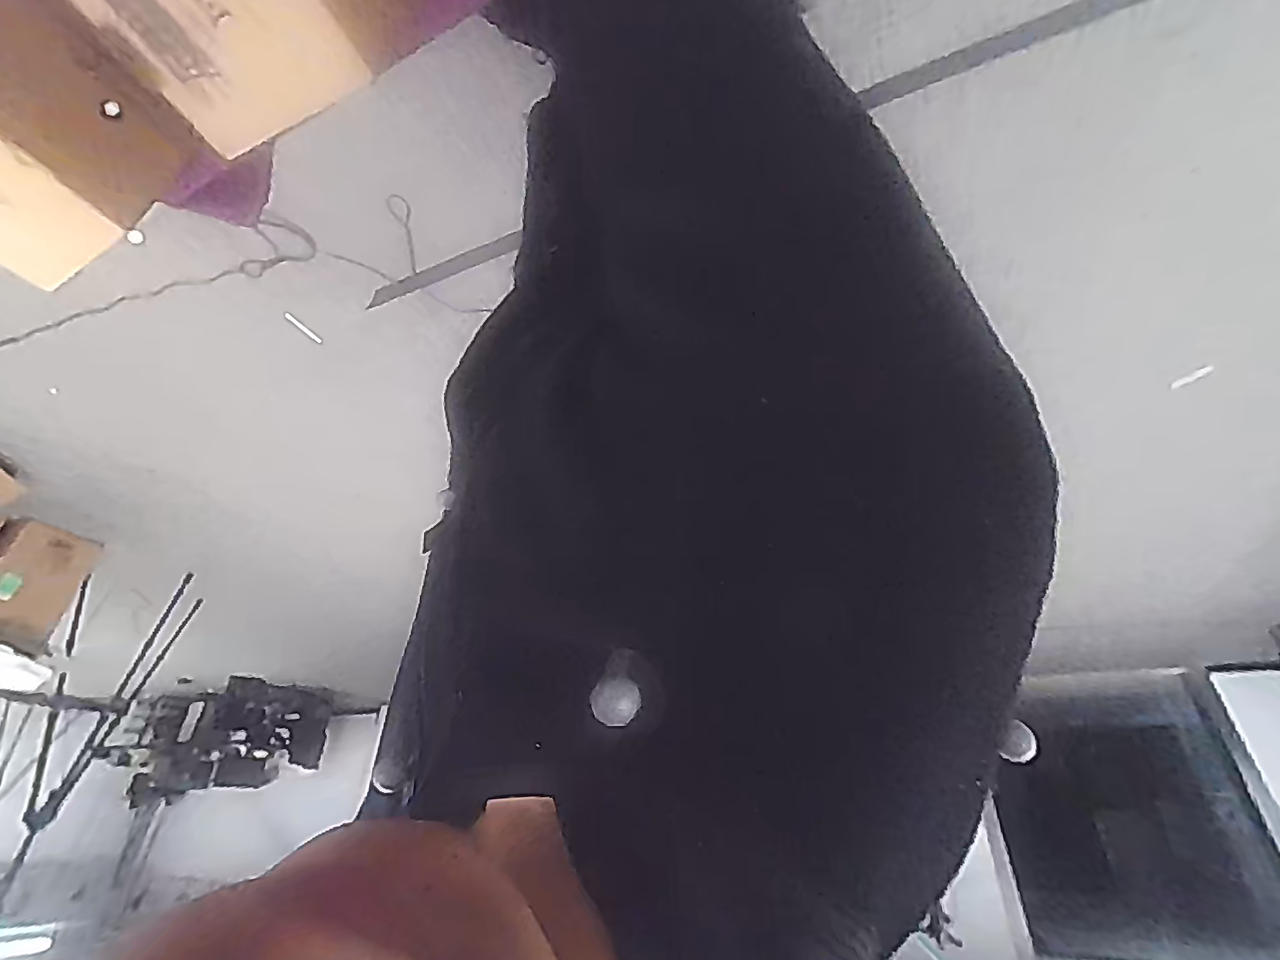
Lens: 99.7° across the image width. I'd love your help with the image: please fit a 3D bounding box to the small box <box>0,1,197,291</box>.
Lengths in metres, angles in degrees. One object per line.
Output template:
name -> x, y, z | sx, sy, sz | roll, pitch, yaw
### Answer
small box -> -0.624, -0.341, 0.568 | 0.179, 0.176, 0.168 | -15, 144, 23
